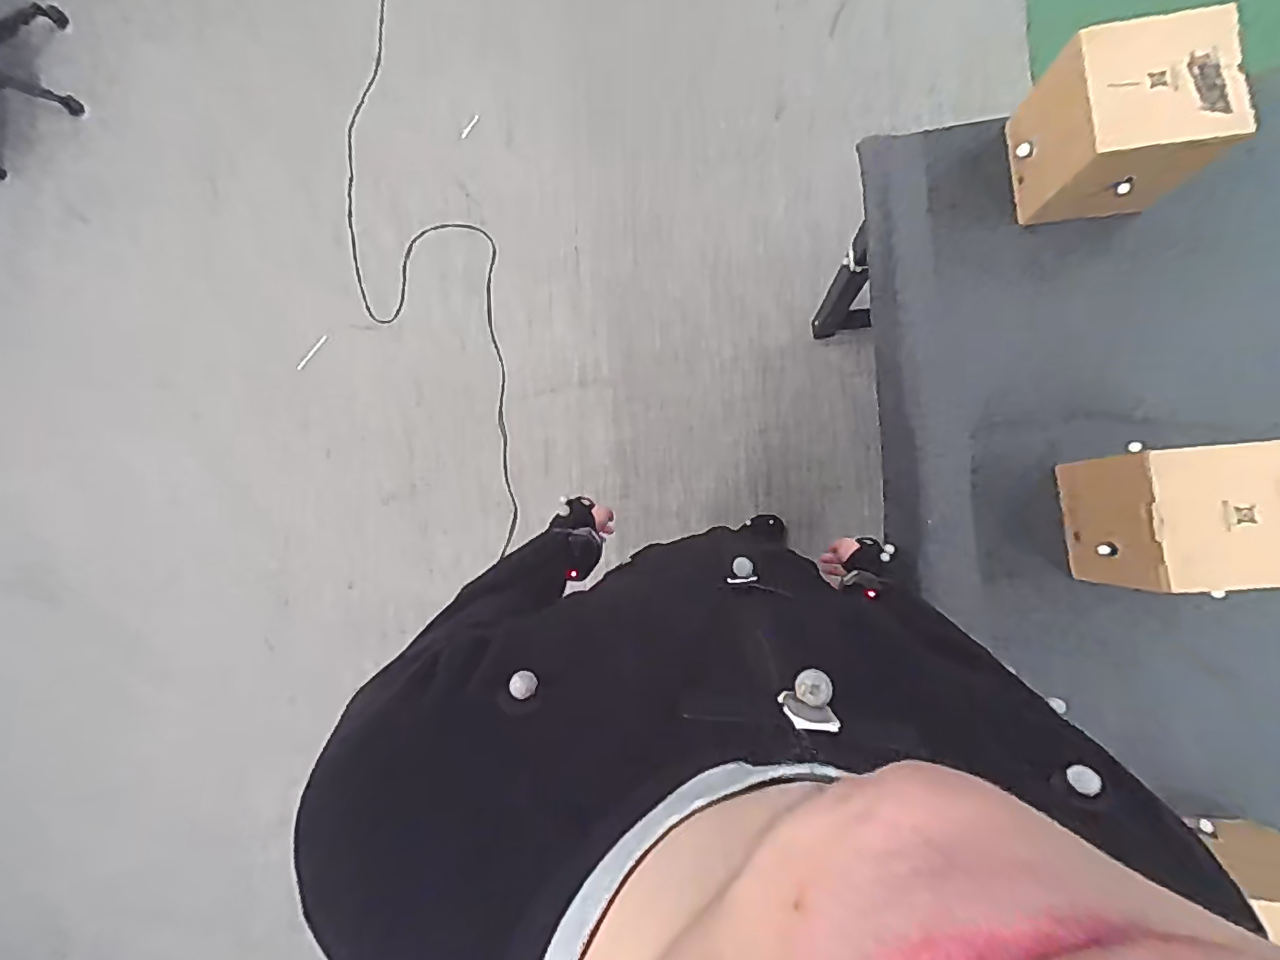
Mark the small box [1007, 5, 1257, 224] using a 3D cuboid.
[{"bbox_3d":[0.630,-0.466,0.716,0.179,0.176,0.168,-4,86,6],"label":"small box"}]

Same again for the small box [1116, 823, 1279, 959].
[{"bbox_3d":[0.707,0.532,0.634,0.179,0.176,0.168,-2,85,7],"label":"small box"}]

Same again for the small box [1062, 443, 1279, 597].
[{"bbox_3d":[0.672,0.049,0.678,0.179,0.176,0.168,-5,86,5],"label":"small box"}]
